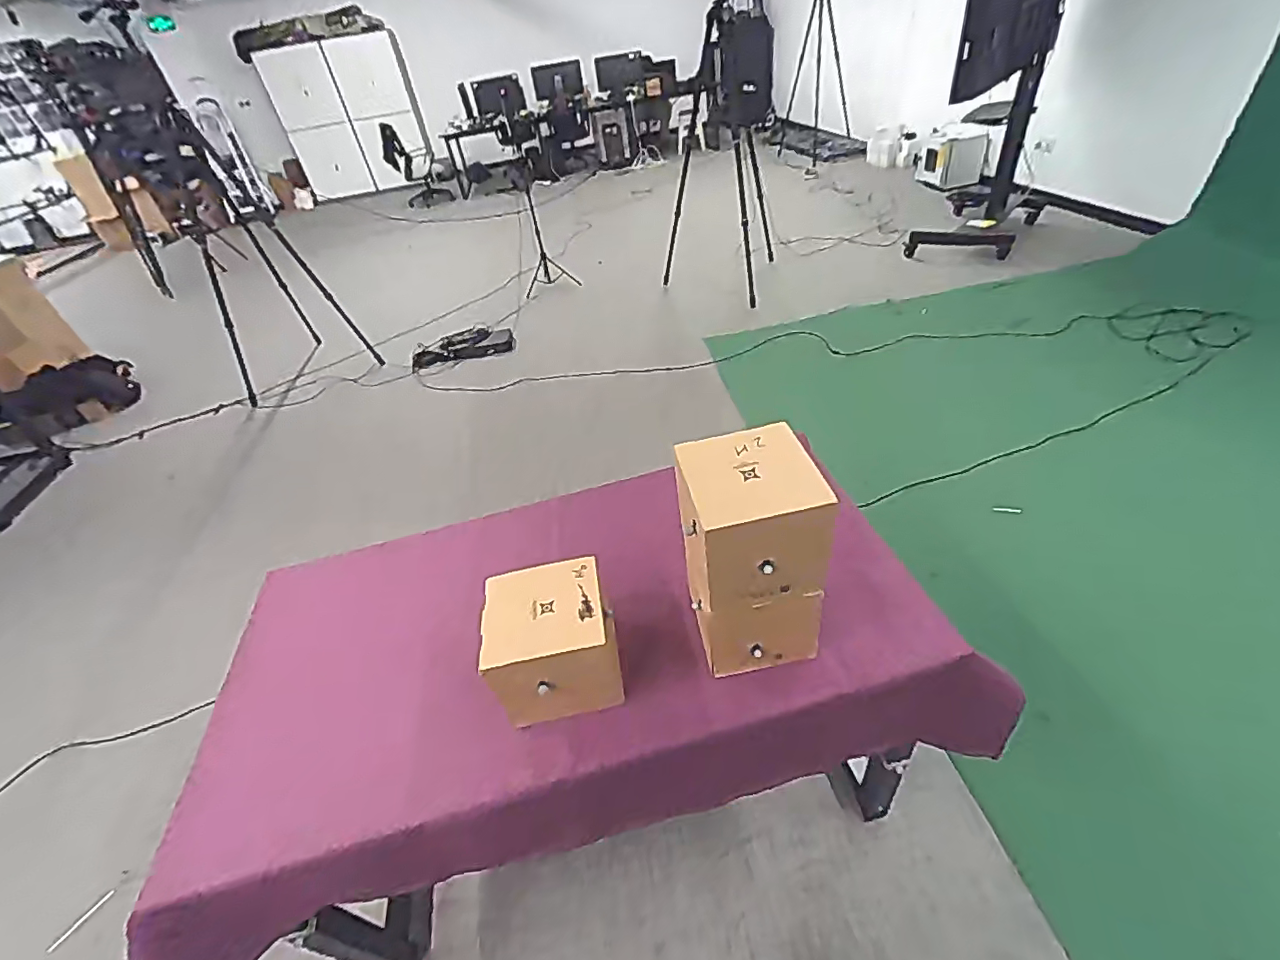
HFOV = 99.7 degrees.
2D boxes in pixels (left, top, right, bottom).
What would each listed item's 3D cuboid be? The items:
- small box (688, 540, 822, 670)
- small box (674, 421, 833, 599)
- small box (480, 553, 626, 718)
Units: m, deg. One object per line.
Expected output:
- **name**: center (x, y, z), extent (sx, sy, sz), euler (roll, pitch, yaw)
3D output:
- **small box**: center (0.173, 0.172, 0.862), extent (0.168, 0.176, 0.179), euler (-11, 41, -1)
- **small box**: center (0.151, 0.047, 0.755), extent (0.168, 0.176, 0.179), euler (-12, 40, -2)
- **small box**: center (-0.129, 0.244, 0.839), extent (0.179, 0.176, 0.168), euler (-12, 40, -1)
